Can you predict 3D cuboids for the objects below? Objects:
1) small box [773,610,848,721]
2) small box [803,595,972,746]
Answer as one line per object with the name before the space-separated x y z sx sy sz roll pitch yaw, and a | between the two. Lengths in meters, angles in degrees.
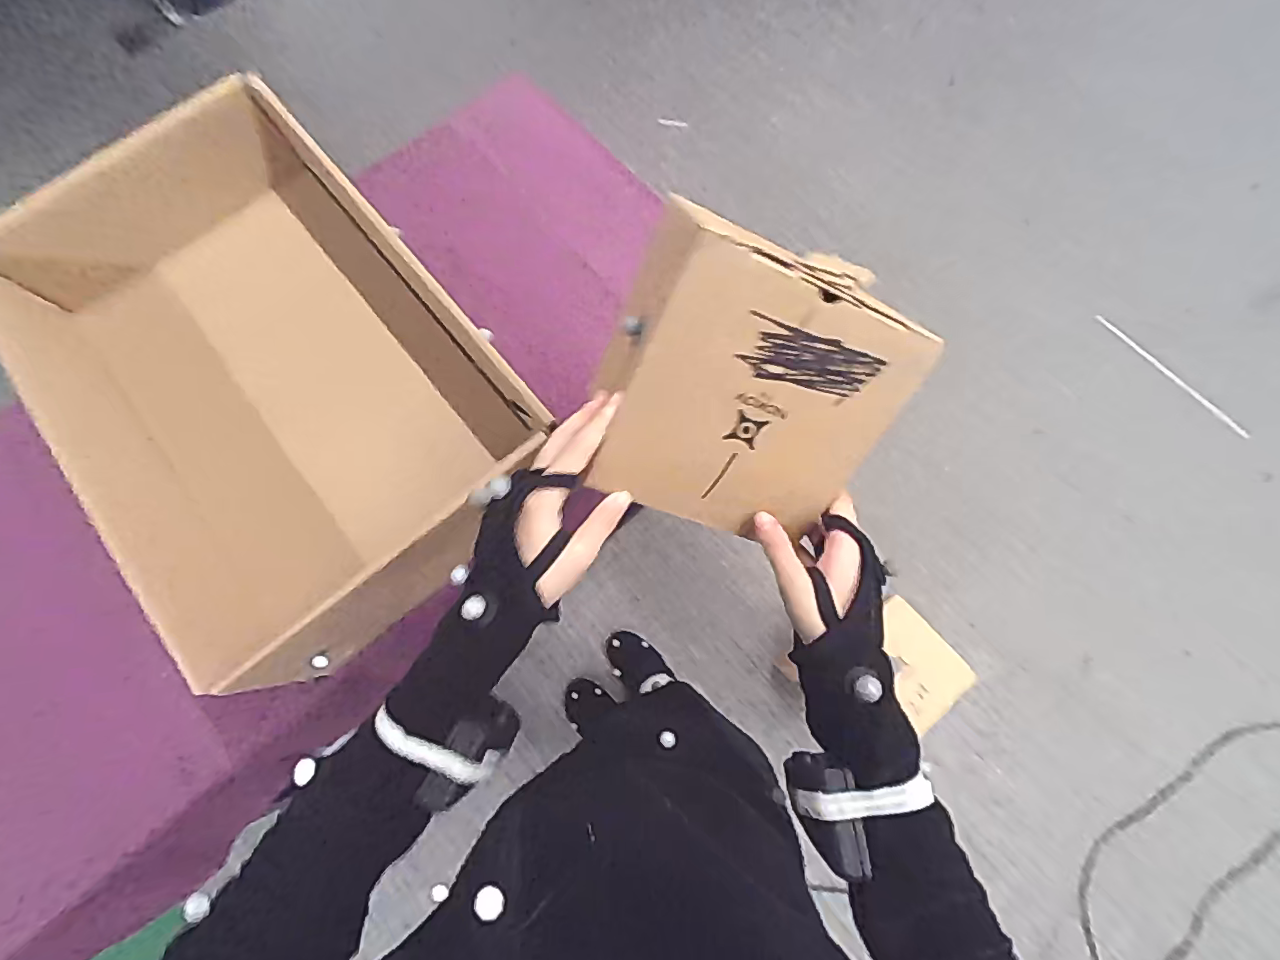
small box | 0.430 0.426 1.258 0.168 0.176 0.179 42 79 11
small box | 0.415 0.326 0.944 0.168 0.176 0.179 -39 76 -9
